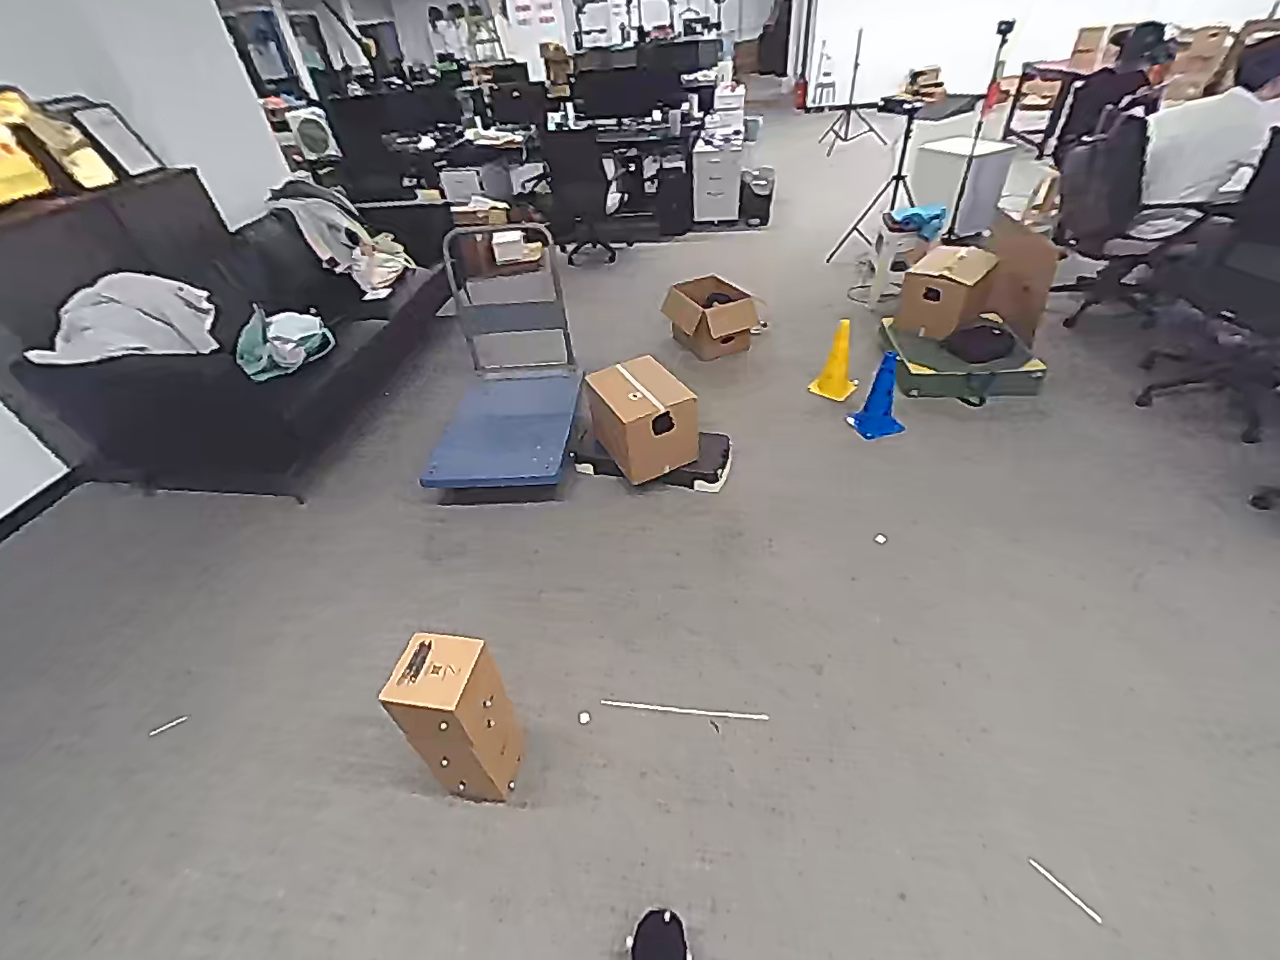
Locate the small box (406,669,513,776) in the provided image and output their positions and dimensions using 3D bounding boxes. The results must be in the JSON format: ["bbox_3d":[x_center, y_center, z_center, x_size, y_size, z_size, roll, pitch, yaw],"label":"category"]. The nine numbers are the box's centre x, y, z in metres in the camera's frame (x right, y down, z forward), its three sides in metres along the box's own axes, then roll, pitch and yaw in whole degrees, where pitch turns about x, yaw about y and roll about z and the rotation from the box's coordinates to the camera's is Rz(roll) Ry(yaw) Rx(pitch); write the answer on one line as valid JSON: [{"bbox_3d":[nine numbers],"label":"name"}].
[{"bbox_3d":[-0.426,0.590,1.313,0.168,0.176,0.179,4,41,11],"label":"small box"}]

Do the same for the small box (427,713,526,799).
[{"bbox_3d":[-0.418,0.715,1.420,0.179,0.176,0.168,2,41,11],"label":"small box"}]
